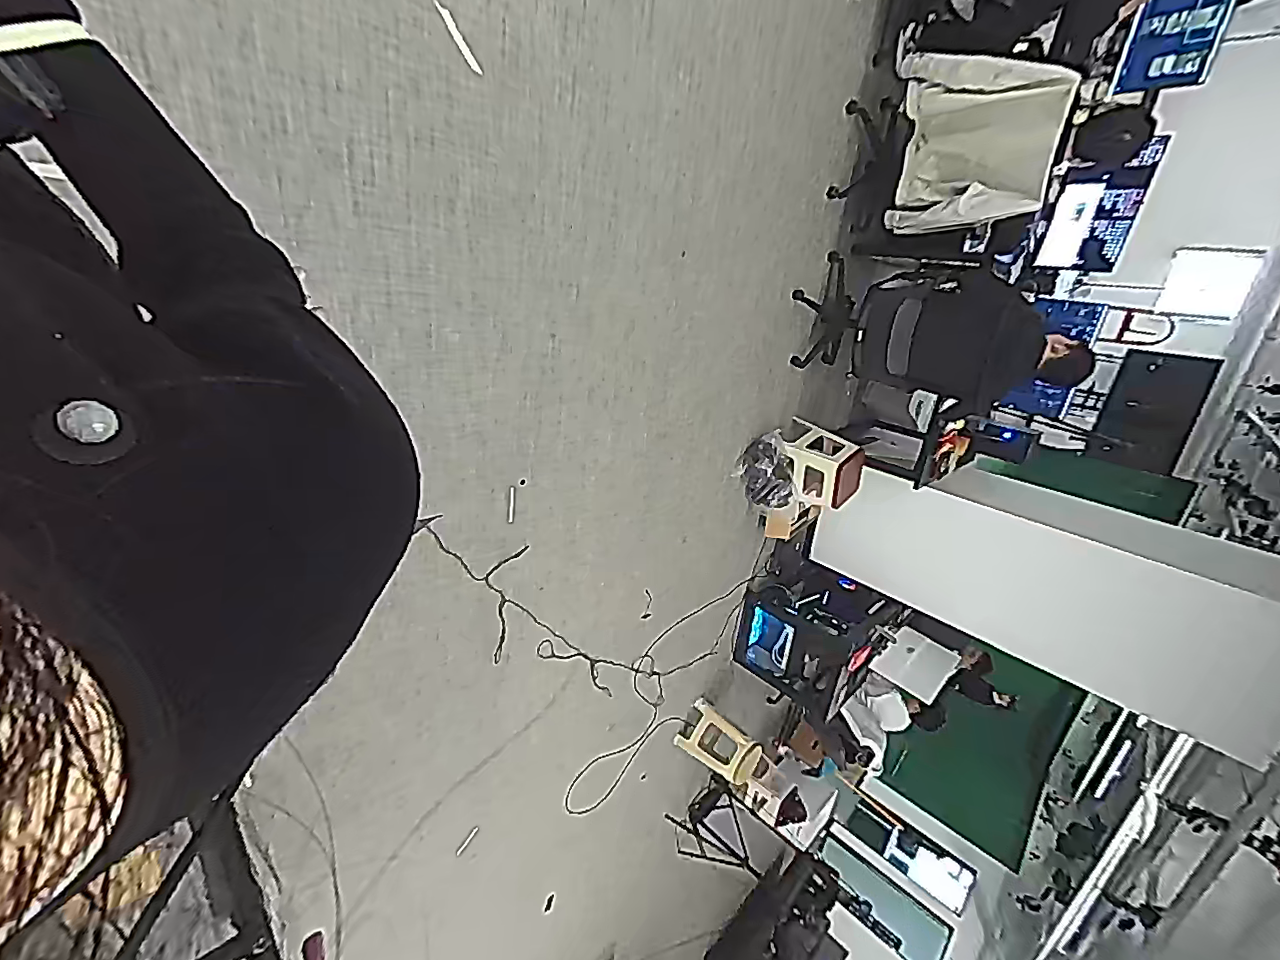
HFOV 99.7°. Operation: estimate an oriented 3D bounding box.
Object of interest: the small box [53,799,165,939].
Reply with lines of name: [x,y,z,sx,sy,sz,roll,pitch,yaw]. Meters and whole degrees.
small box: [-1.274,0.923,1.300,0.168,0.176,0.179,-13,120,-45]
